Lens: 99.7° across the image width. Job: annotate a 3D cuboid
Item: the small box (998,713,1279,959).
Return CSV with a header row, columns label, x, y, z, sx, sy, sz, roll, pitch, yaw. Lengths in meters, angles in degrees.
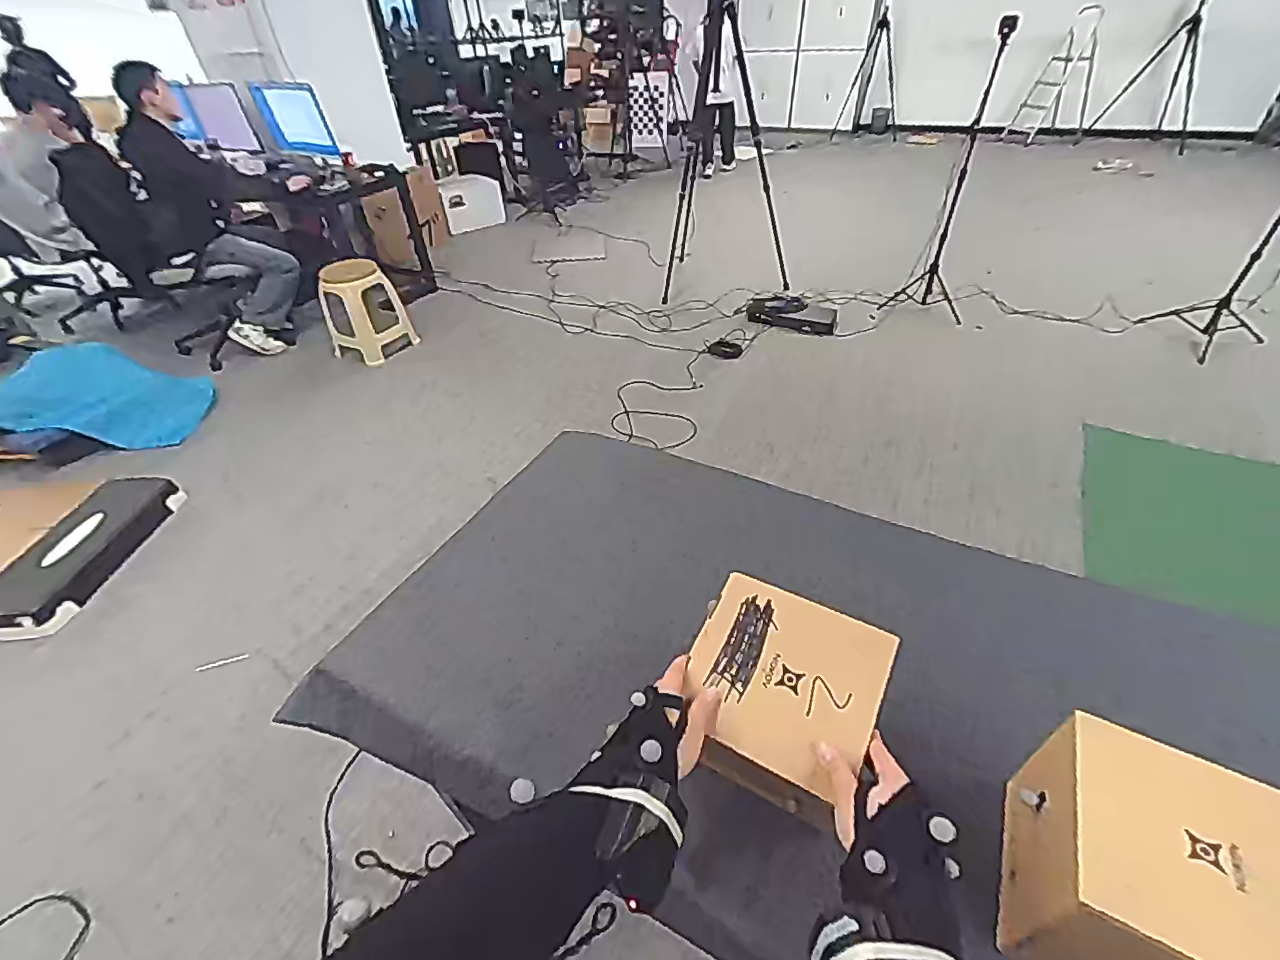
label,x,y,z,sx,sy,sz,roll,pitch,yaw
small box,0.429,0.342,0.454,0.179,0.176,0.168,19,45,24
